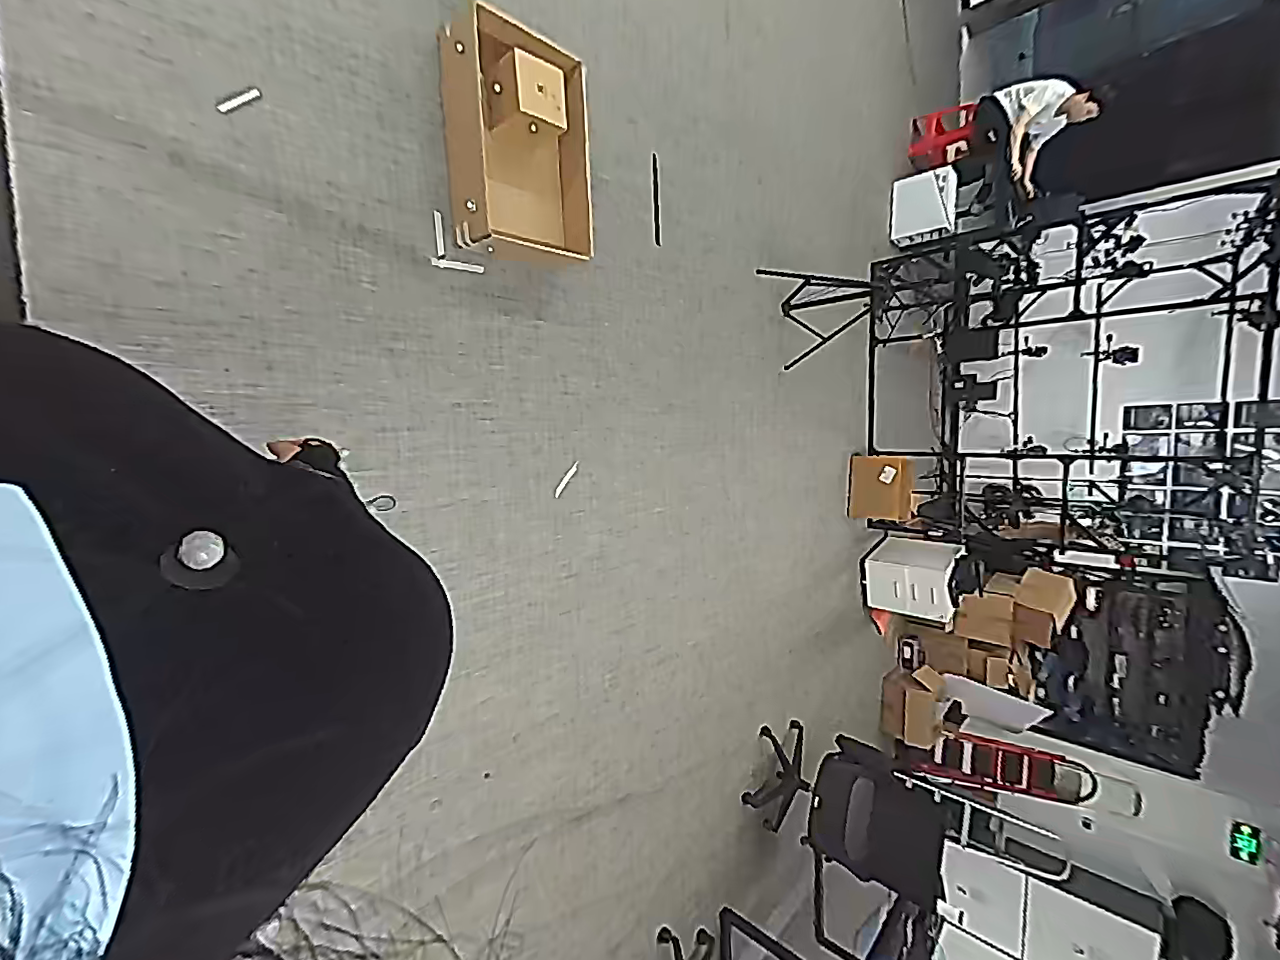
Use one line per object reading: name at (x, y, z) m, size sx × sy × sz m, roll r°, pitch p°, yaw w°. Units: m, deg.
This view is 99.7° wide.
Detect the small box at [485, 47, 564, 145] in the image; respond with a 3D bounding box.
small box at (-0.354, -1.143, 1.629) m, size 0.179 × 0.176 × 0.168 m, roll -12°, pitch 103°, yaw -47°
